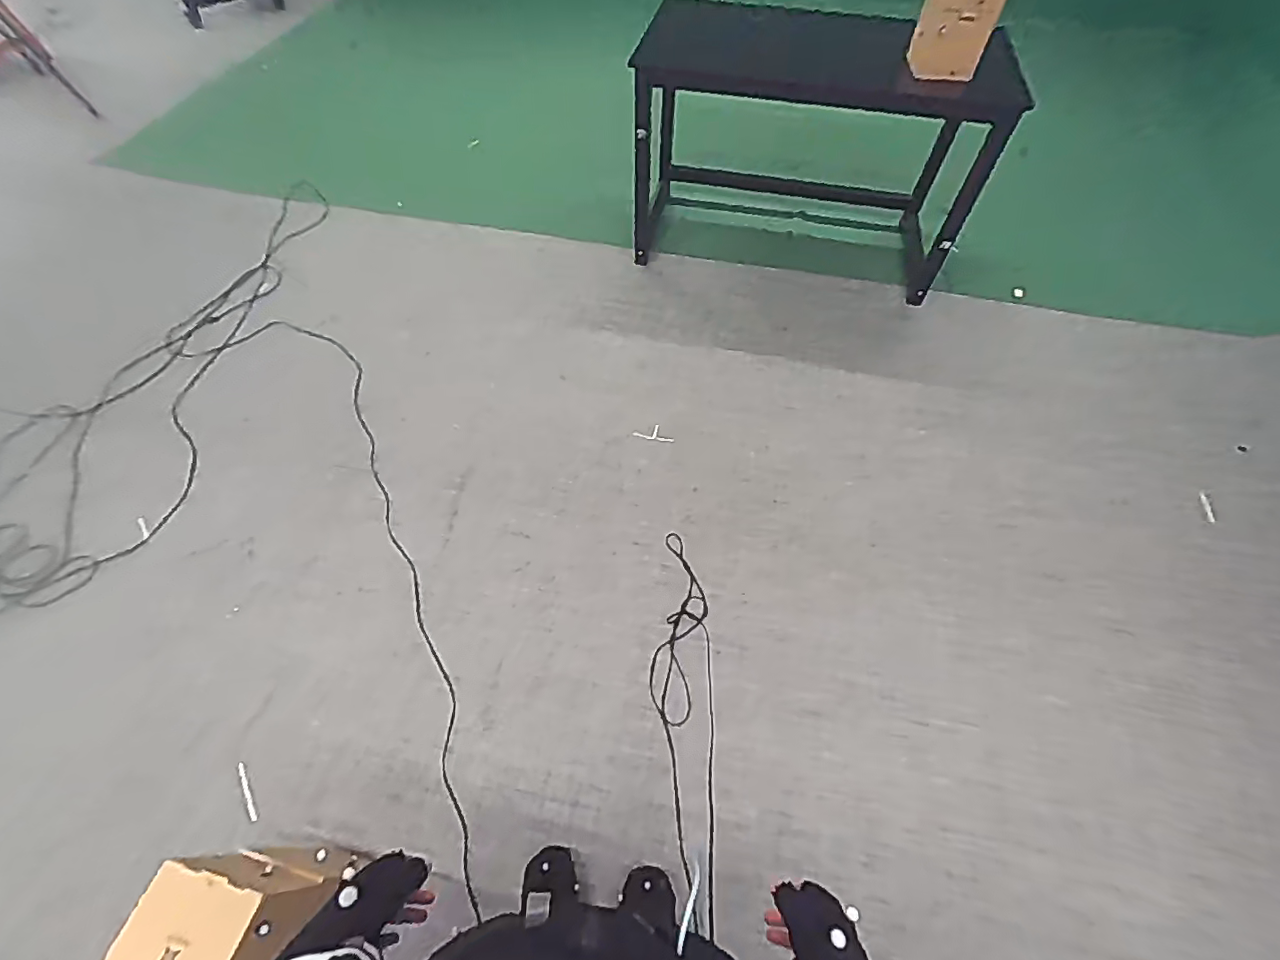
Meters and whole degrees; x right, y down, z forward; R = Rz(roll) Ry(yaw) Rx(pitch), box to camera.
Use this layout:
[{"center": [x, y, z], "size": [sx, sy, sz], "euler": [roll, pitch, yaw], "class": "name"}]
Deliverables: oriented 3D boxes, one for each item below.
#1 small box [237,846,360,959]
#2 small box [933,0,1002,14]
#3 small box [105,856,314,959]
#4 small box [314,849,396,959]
[{"center": [-0.625, 0.759, 0.933], "size": [0.168, 0.176, 0.179], "euler": [13, 57, 8], "class": "small box"}, {"center": [0.920, -1.419, 1.483], "size": [0.168, 0.176, 0.179], "euler": [4, 57, 3], "class": "small box"}, {"center": [-0.625, 0.678, 0.792], "size": [0.168, 0.176, 0.179], "euler": [13, 57, 8], "class": "small box"}, {"center": [-0.619, 0.850, 1.070], "size": [0.179, 0.176, 0.168], "euler": [13, 58, 7], "class": "small box"}]
